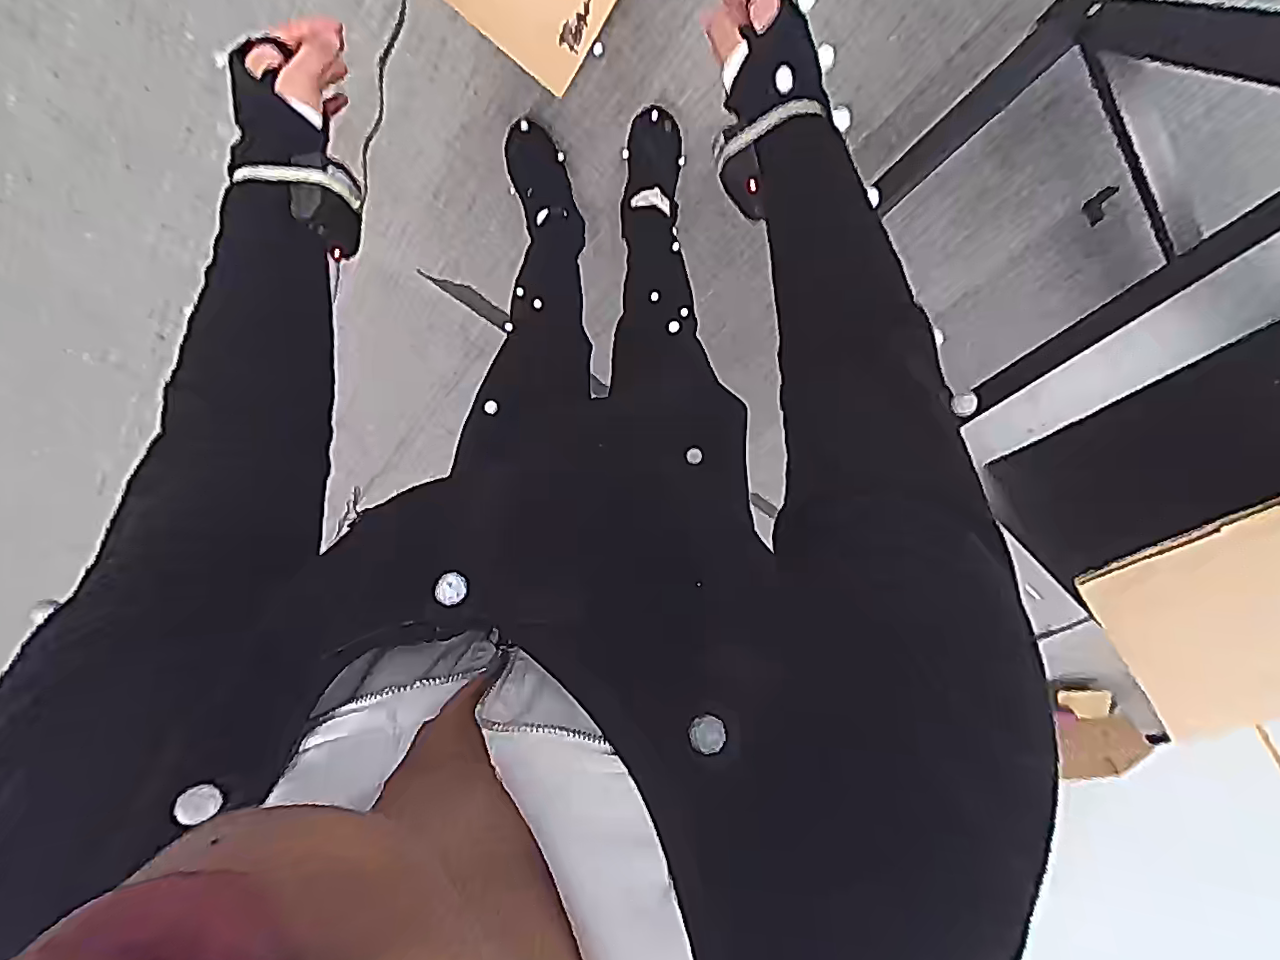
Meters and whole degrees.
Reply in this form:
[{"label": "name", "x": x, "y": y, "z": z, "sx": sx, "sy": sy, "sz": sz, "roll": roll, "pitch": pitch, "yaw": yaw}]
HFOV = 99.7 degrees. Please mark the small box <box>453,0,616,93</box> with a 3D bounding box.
[{"label": "small box", "x": -0.114, "y": -0.592, "z": 0.615, "sx": 0.179, "sy": 0.176, "sz": 0.168, "roll": 28, "pitch": 126, "yaw": -27}]
